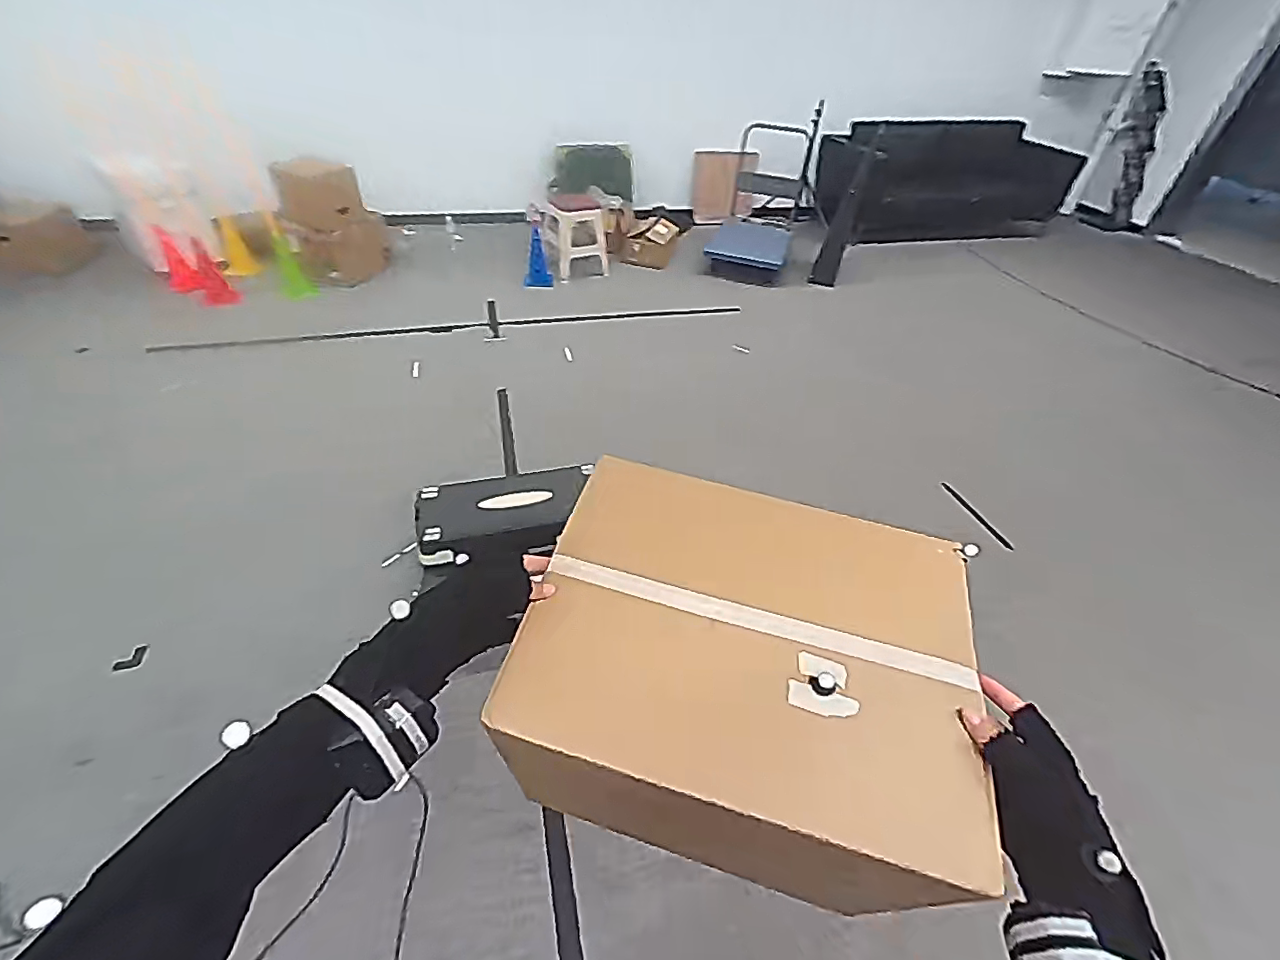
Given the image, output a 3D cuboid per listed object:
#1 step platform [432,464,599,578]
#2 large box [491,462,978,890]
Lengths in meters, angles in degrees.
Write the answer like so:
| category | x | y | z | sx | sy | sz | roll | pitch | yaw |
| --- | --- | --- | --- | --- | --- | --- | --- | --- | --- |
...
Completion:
| category | x | y | z | sx | sy | sz | roll | pitch | yaw |
| --- | --- | --- | --- | --- | --- | --- | --- | --- | --- |
| step platform | -0.390 | 0.131 | 1.953 | 0.684 | 0.204 | 0.286 | -9 | 43 | -16 |
| large box | 0.091 | 0.228 | 0.636 | 0.408 | 0.320 | 0.320 | 14 | 51 | 8 |
